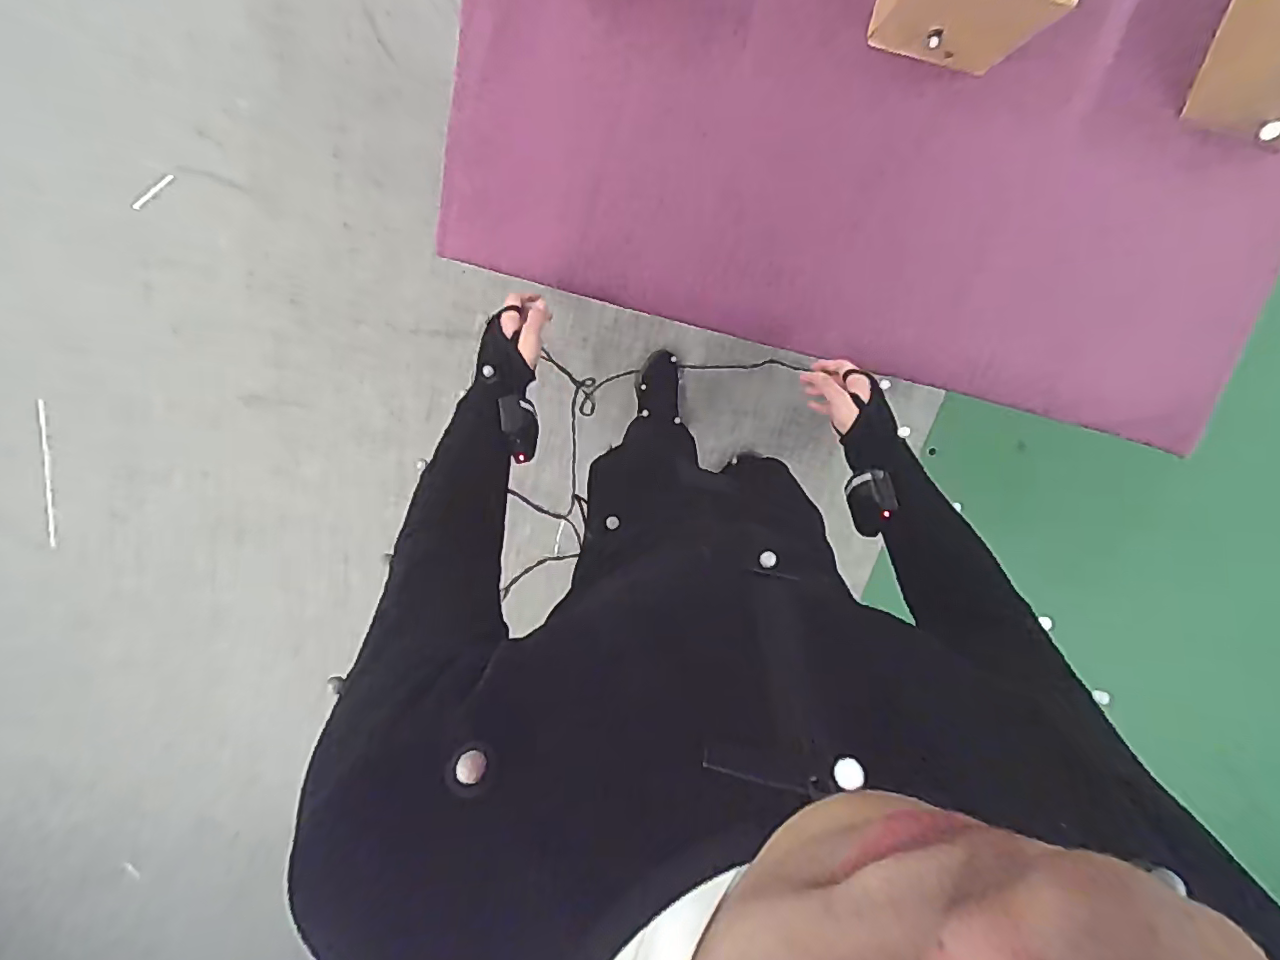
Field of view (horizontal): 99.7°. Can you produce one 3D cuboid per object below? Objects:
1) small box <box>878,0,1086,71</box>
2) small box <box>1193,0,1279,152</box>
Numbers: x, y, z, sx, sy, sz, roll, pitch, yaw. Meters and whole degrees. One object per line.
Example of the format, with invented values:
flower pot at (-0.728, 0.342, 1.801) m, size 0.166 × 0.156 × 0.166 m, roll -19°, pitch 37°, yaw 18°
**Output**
small box at (0.399, -0.612, 0.609) m, size 0.168 × 0.176 × 0.179 m, roll 12°, pitch 107°, yaw -5°
small box at (0.831, -0.524, 0.635) m, size 0.168 × 0.176 × 0.179 m, roll 13°, pitch 106°, yaw -2°
